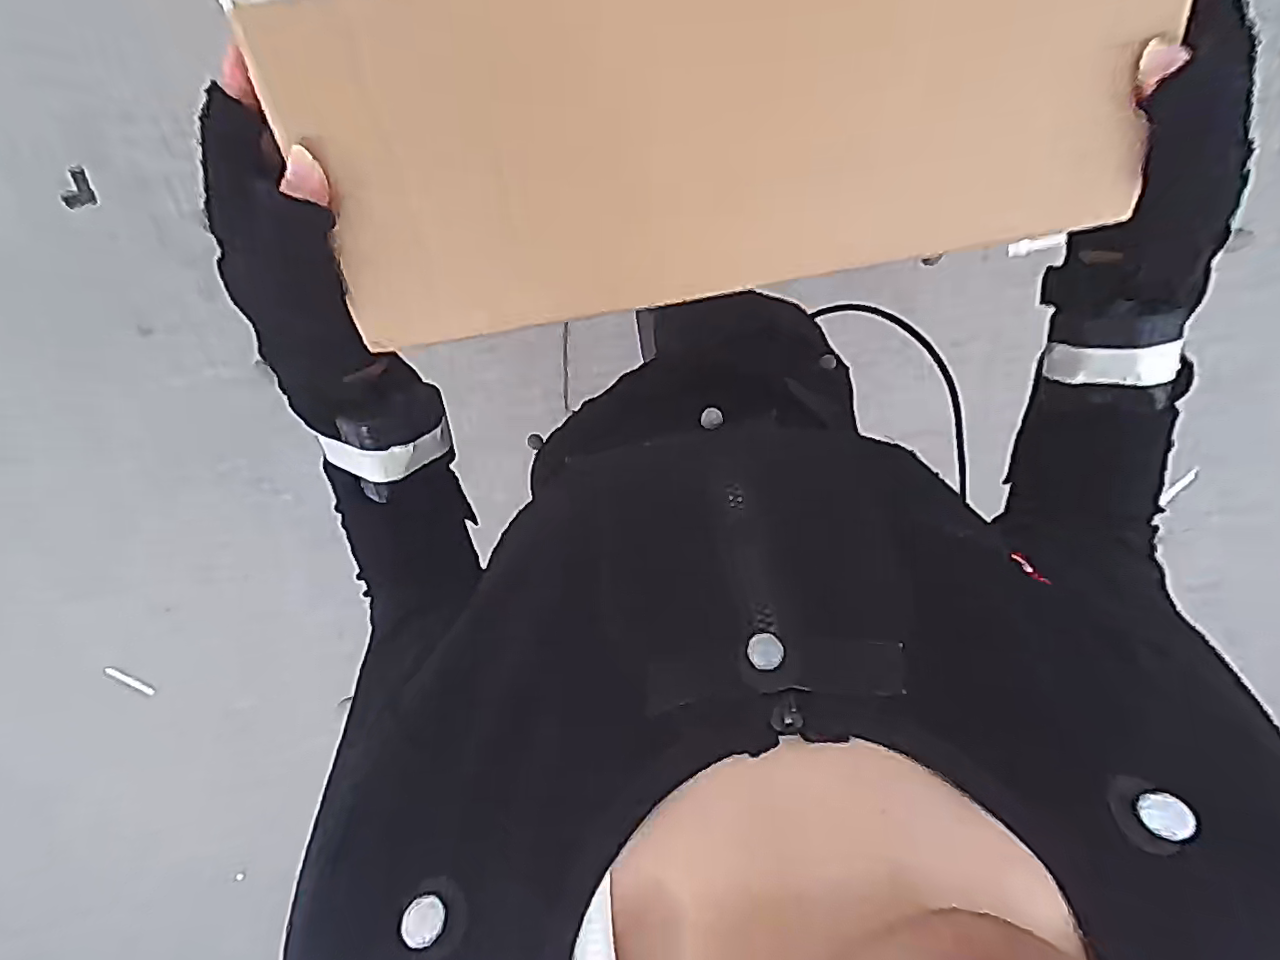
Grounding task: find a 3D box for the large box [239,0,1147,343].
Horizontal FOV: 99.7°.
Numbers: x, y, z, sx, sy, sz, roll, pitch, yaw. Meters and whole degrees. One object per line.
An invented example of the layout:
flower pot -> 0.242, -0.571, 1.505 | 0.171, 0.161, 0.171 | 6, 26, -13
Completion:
large box -> 0.018, -0.314, 0.347 | 0.408, 0.320, 0.320 | -10, 119, 2
